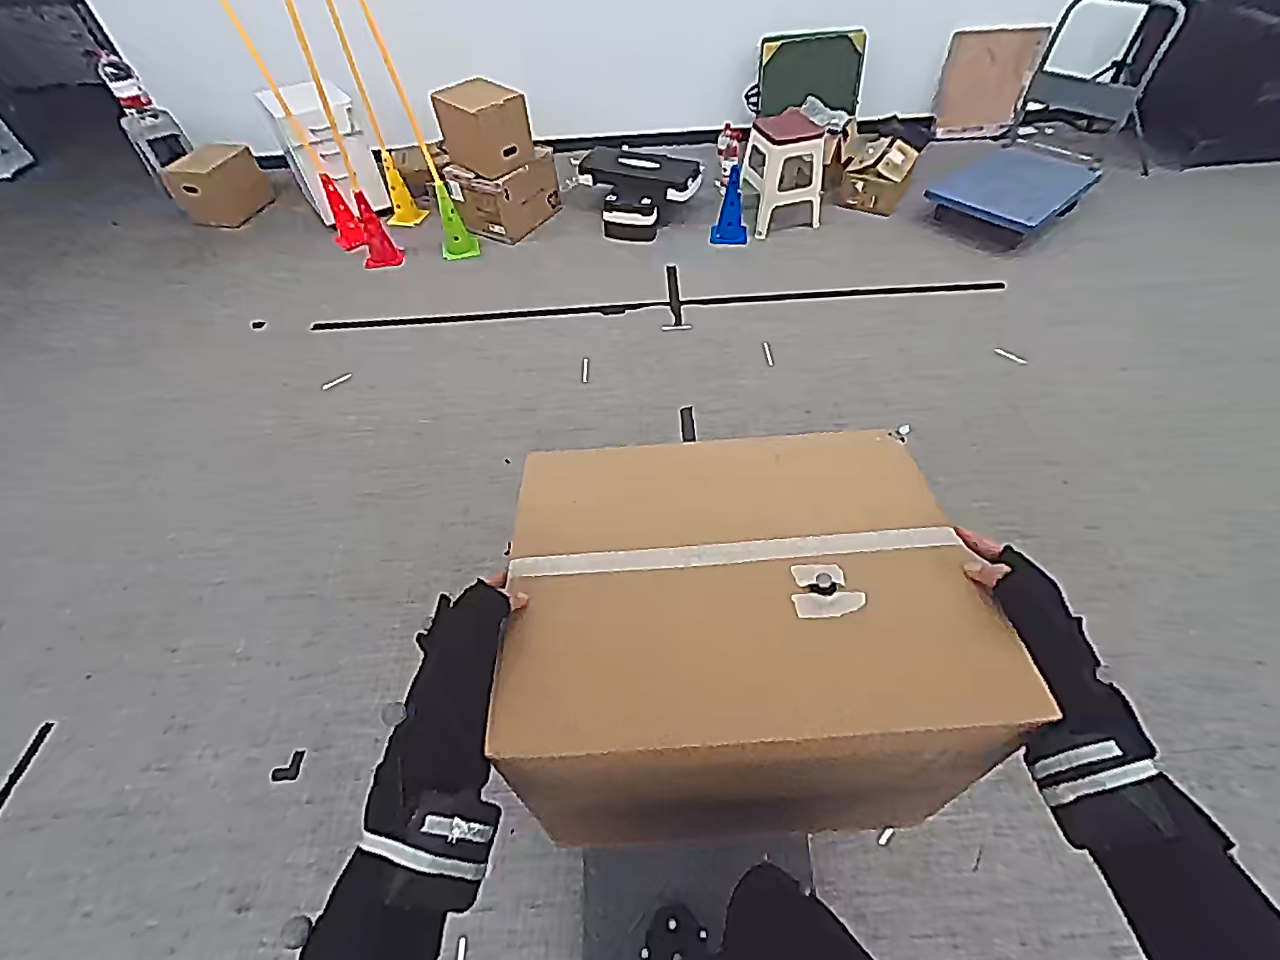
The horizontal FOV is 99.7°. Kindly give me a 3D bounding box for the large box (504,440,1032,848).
[{"bbox_3d":[0.093,0.183,0.606,0.408,0.320,0.320,-4,46,0],"label":"large box"}]
